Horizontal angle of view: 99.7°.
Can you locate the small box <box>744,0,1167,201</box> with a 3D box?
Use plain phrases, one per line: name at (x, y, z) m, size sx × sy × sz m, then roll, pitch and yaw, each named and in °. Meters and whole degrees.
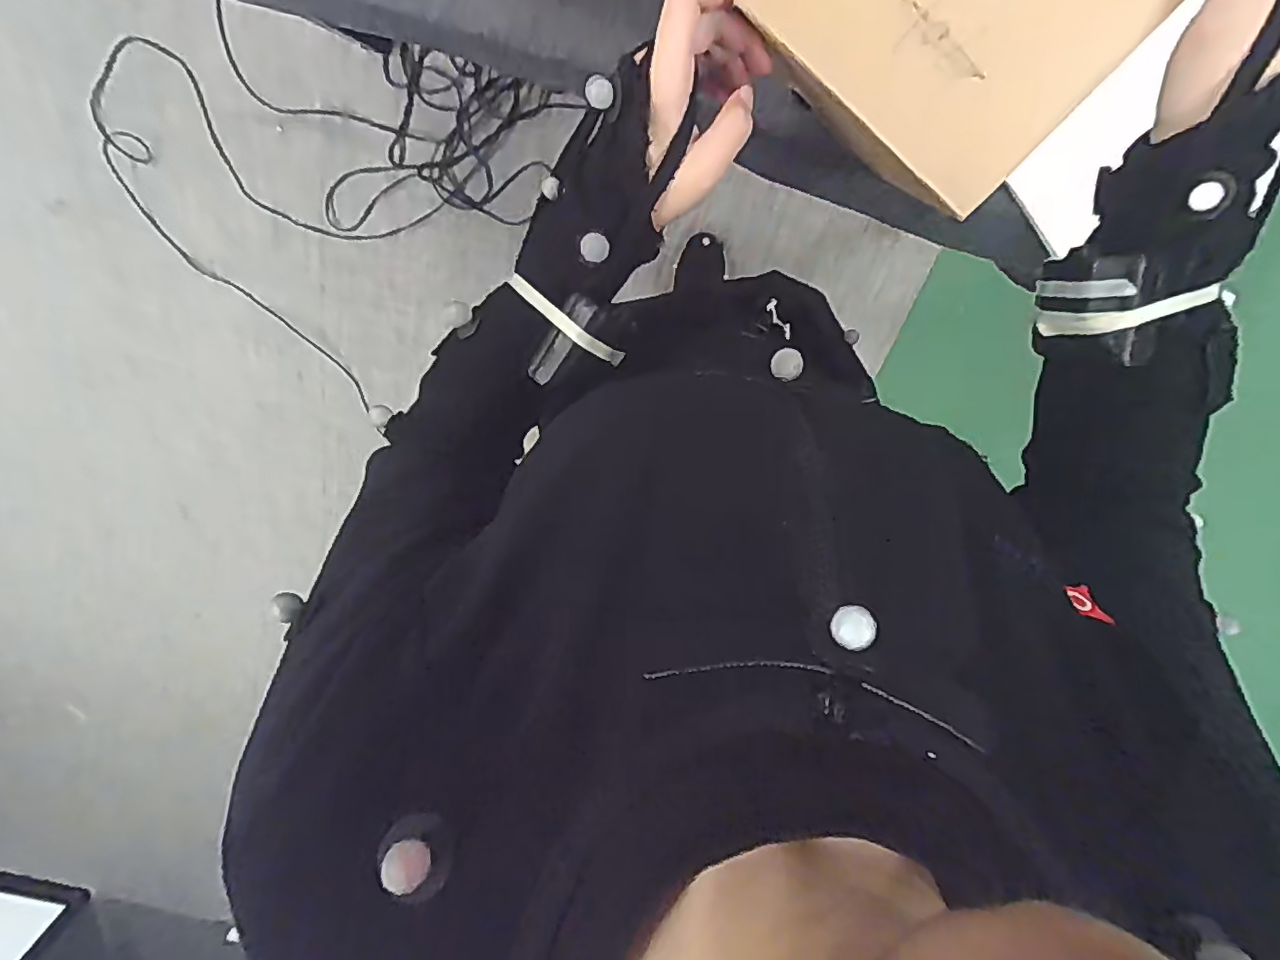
small box at (0.169, -0.295, 0.294) m, size 0.168 × 0.176 × 0.179 m, roll 32°, pitch 125°, yaw -15°
